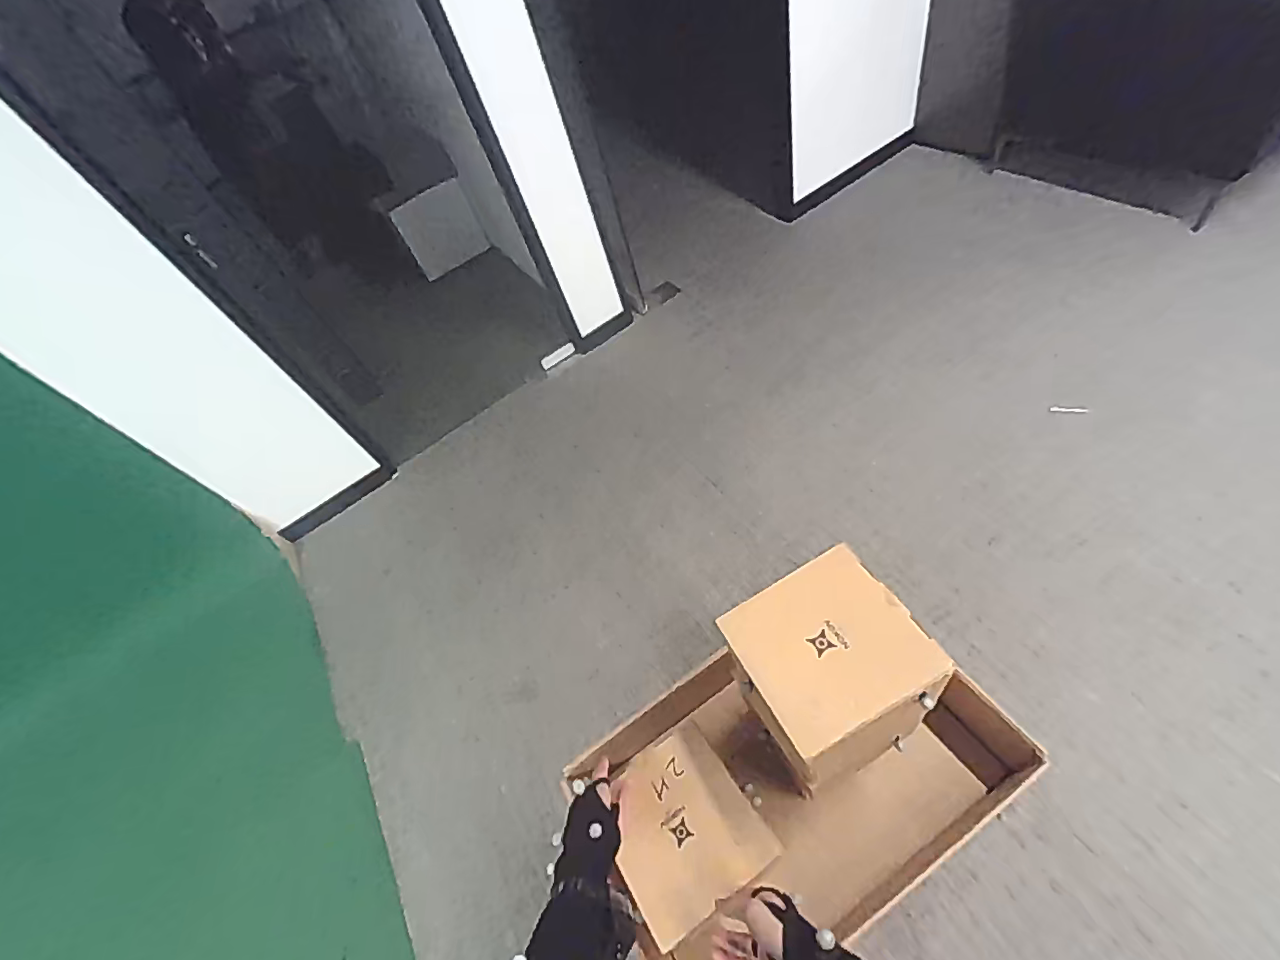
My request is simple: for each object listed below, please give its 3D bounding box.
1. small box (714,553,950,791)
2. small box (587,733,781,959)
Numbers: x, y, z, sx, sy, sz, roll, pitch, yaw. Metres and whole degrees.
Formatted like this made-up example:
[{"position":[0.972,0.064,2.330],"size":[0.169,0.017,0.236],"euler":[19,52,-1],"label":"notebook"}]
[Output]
[{"position":[0.211,0.223,0.613],"size":[0.179,0.176,0.168],"euler":[-30,50,-4],"label":"small box"},{"position":[0.063,0.461,0.688],"size":[0.168,0.176,0.179],"euler":[-34,52,-9],"label":"small box"}]
